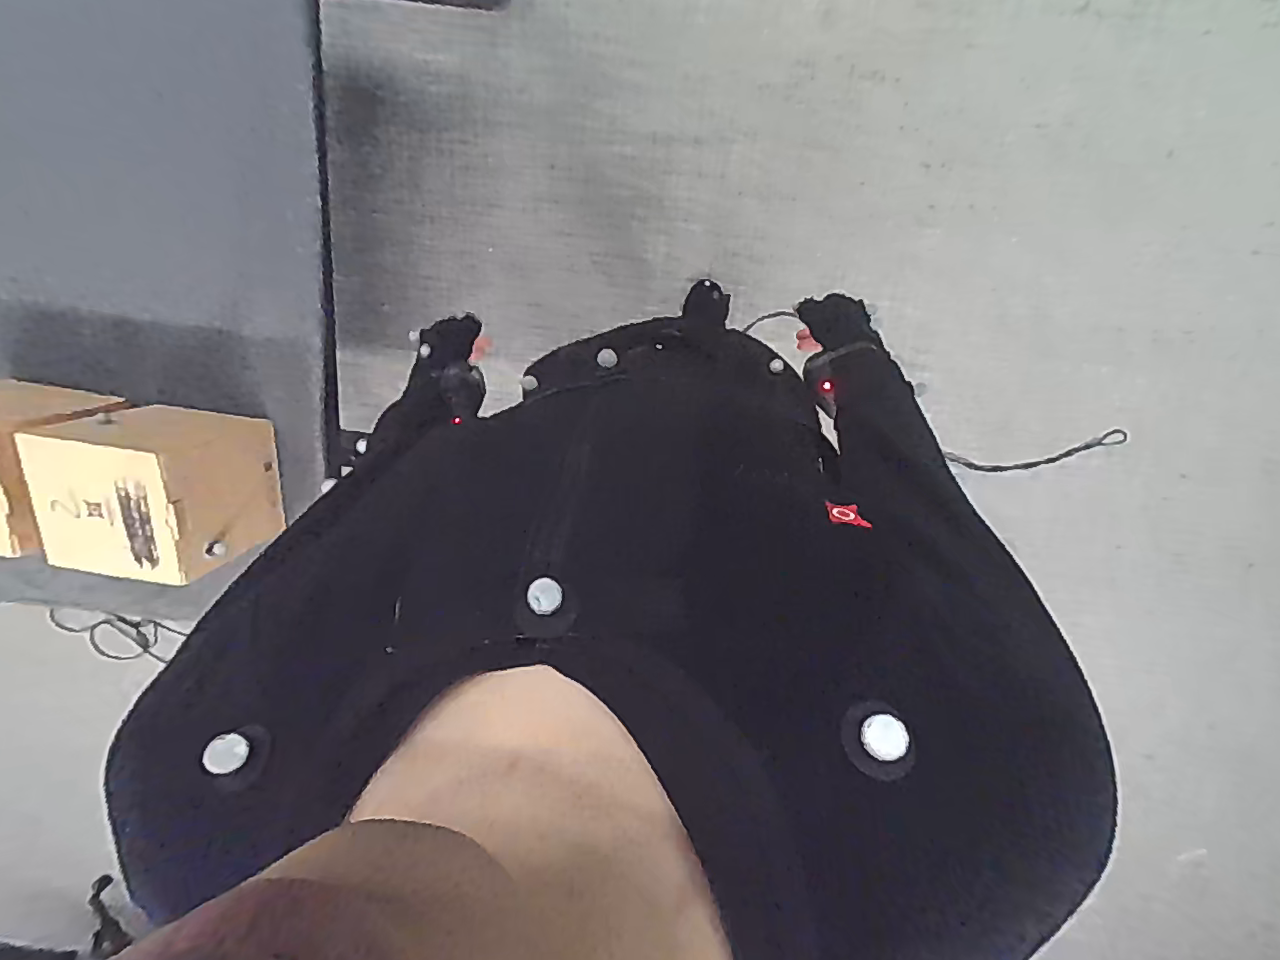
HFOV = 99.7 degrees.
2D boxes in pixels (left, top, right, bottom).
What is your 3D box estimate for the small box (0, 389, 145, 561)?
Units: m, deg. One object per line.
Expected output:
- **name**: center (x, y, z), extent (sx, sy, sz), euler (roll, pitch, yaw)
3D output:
- **small box**: center (-0.811, -0.017, 0.702), extent (0.179, 0.176, 0.168), euler (9, 109, 1)
